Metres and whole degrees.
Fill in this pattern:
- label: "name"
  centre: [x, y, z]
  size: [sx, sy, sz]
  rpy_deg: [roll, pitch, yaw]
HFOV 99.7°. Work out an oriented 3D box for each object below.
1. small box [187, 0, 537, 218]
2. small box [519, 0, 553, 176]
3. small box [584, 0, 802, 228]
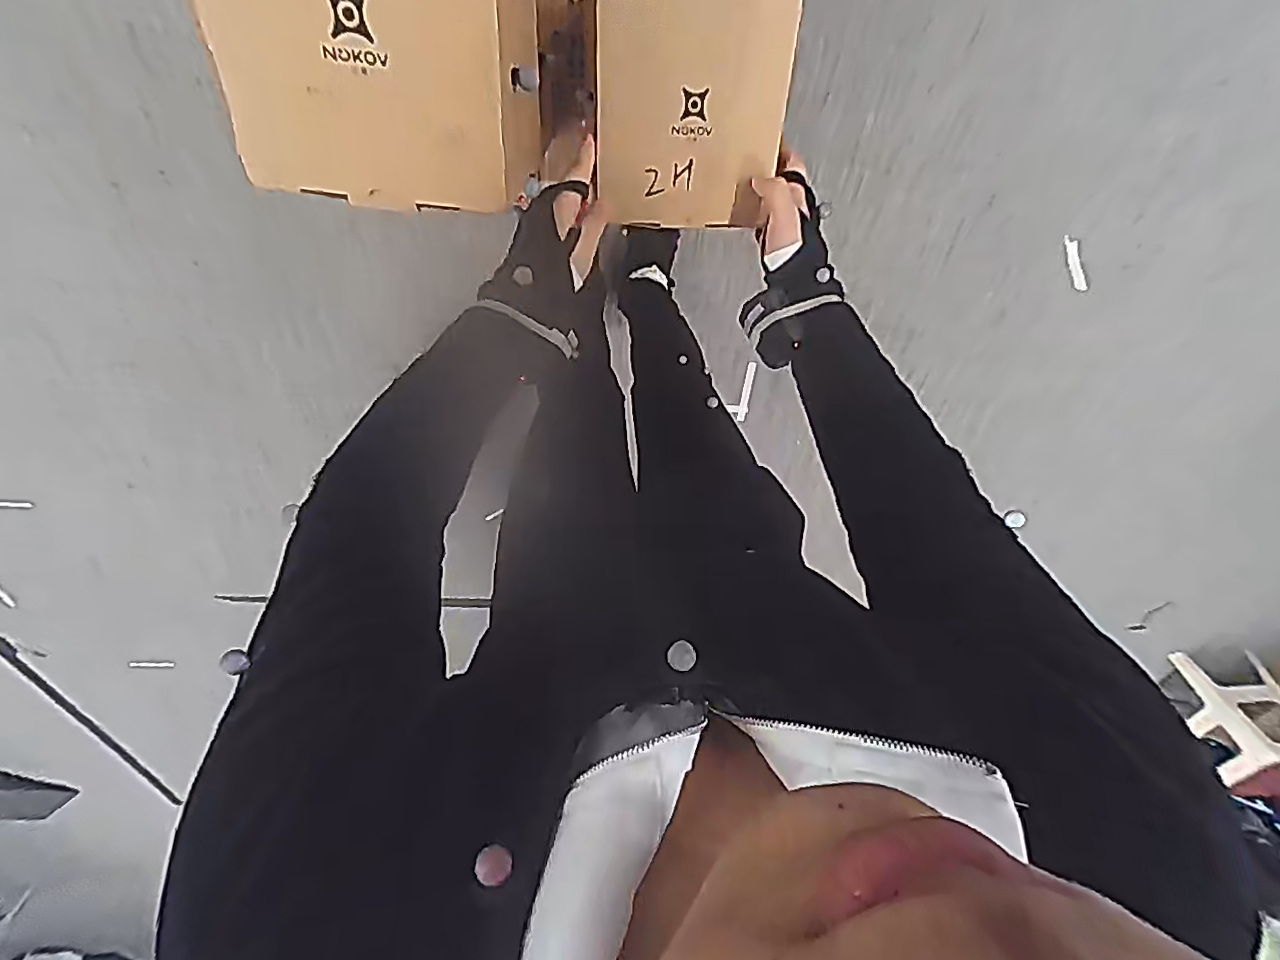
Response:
- label: "small box"
  centre: [-0.161, -0.299, 0.357]
  size: [0.168, 0.176, 0.179]
  rpy_deg: [4, 132, -5]
- label: "small box"
  centre: [-0.170, -0.397, 0.488]
  size: [0.168, 0.176, 0.179]
  rpy_deg: [2, 132, -4]
- label: "small box"
  centre: [0.033, -0.356, 0.524]
  size: [0.168, 0.176, 0.179]
  rpy_deg: [-2, 126, -7]
